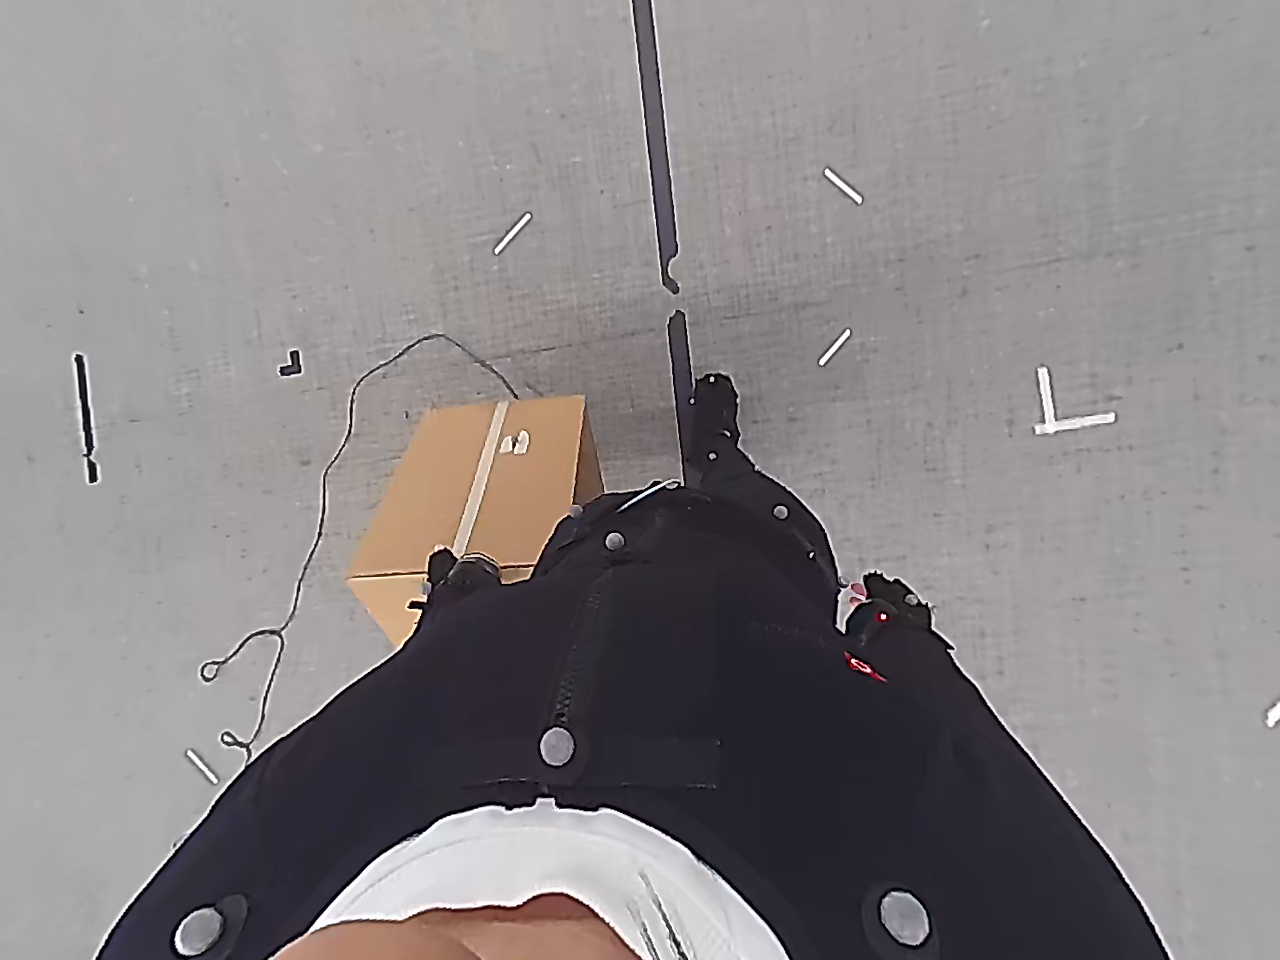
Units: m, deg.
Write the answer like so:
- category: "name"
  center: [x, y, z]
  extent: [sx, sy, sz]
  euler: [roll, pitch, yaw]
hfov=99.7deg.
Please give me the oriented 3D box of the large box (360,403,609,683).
- category: "large box"
  center: [-0.234, 0.106, 0.995]
  extent: [0.320, 0.408, 0.320]
  euler: [-4, 131, 3]
